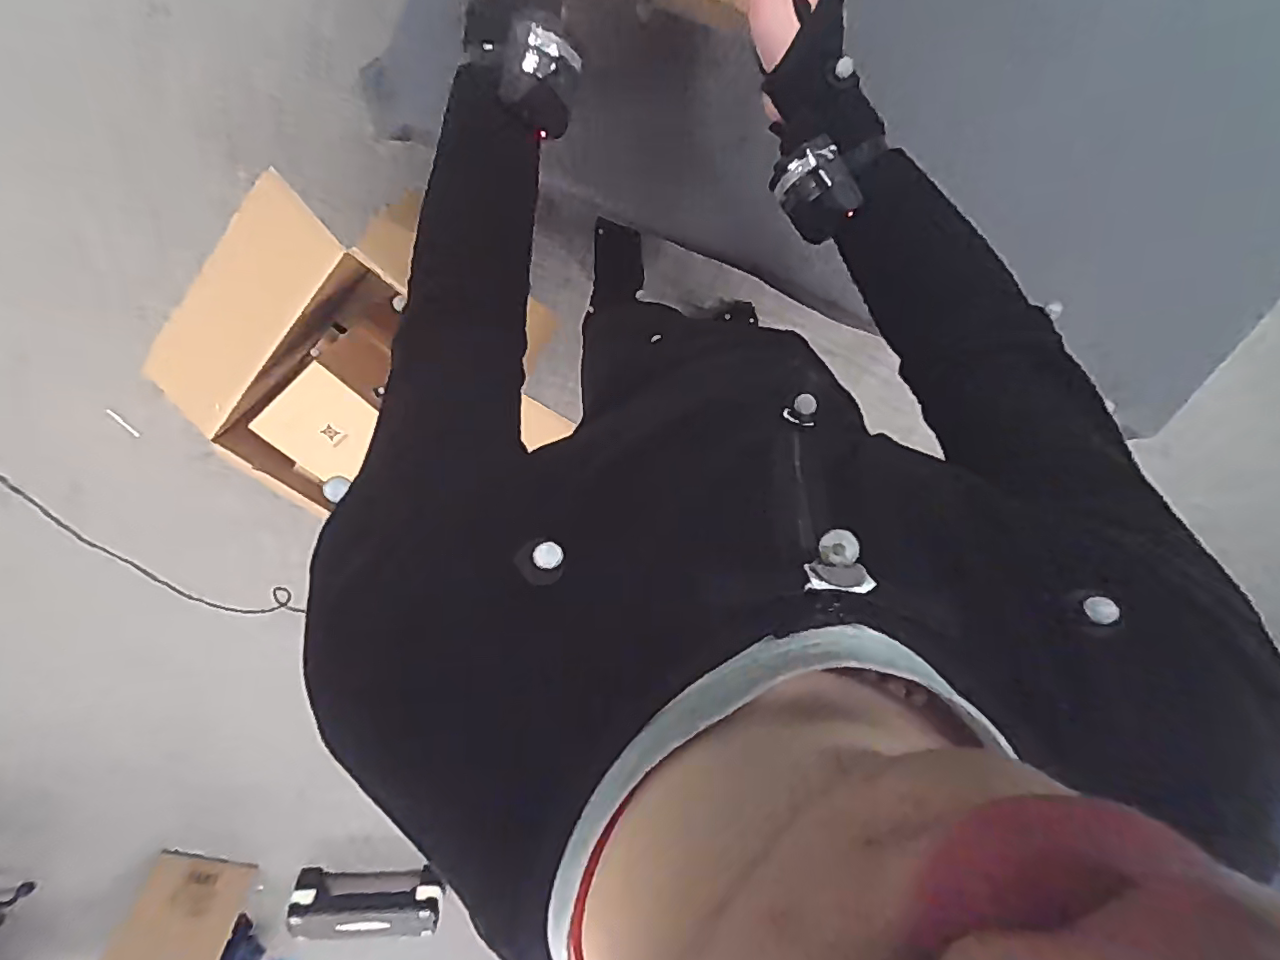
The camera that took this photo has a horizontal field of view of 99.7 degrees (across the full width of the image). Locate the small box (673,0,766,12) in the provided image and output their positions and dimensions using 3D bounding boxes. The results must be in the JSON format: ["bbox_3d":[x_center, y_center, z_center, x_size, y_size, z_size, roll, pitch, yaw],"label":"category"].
[{"bbox_3d":[0.030,-0.481,0.401,0.179,0.176,0.168,12,125,-13],"label":"small box"}]
